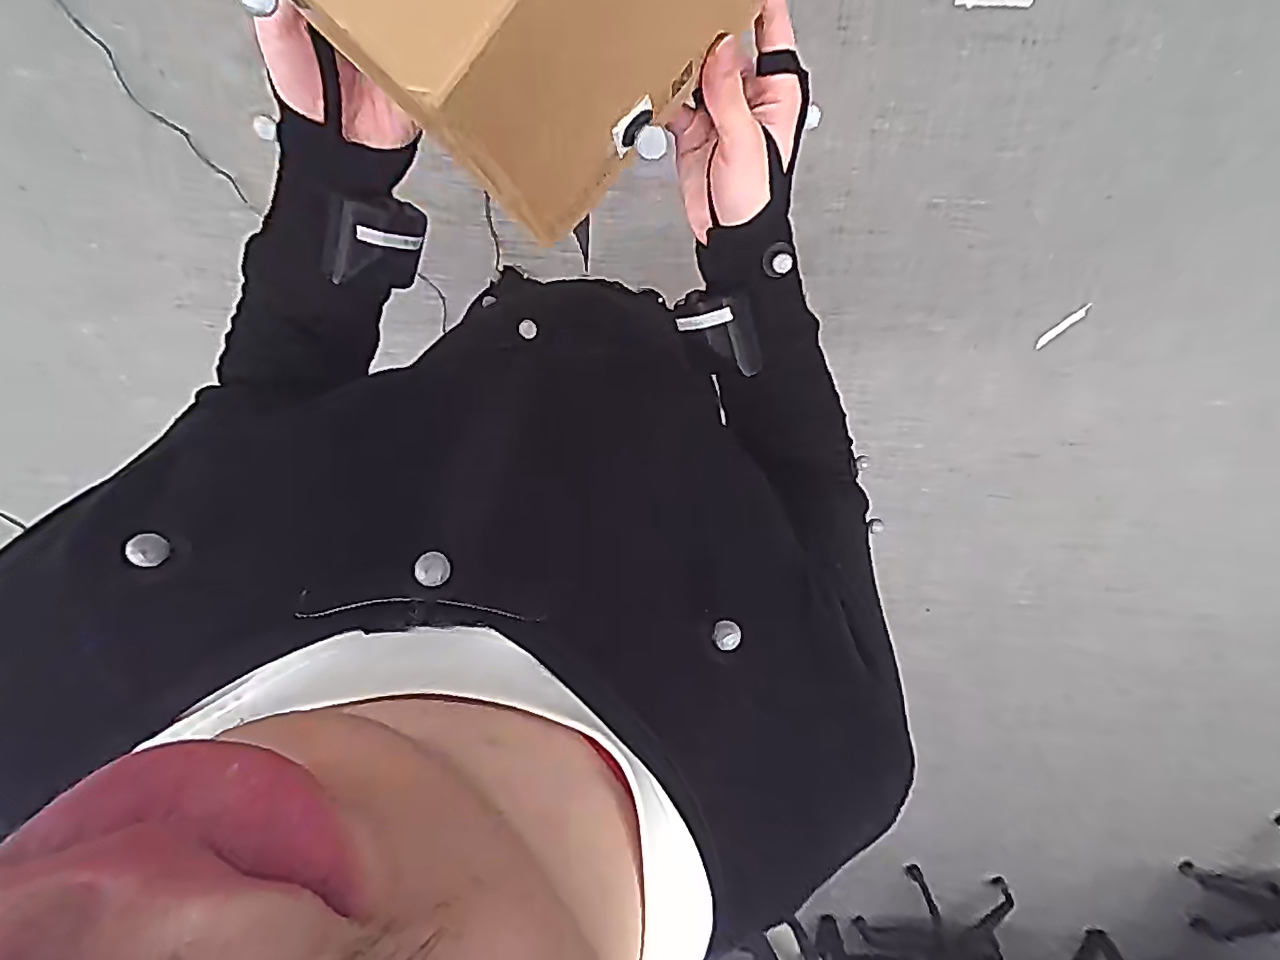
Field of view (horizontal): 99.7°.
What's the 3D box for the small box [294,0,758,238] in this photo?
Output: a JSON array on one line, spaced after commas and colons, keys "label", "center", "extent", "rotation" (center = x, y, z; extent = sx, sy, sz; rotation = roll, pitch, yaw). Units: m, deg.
[{"label": "small box", "center": [-0.058, -0.232, 0.218], "extent": [0.179, 0.176, 0.168], "rotation": [42, 100, -4]}]
